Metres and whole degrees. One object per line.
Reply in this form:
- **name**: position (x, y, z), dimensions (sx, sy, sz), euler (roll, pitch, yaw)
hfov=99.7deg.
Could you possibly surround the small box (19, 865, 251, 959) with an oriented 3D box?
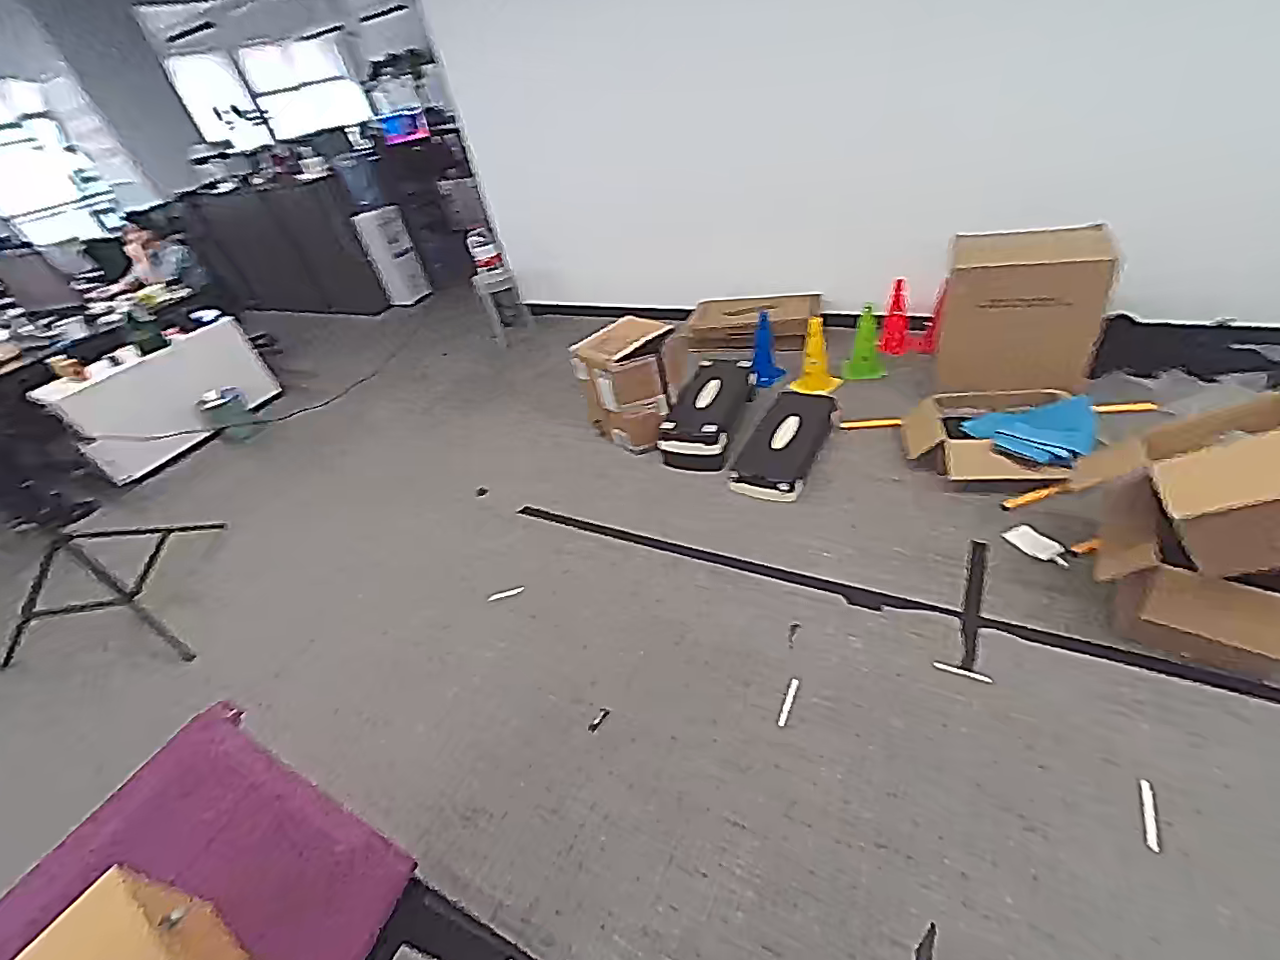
- **small box**: position (-0.571, 0.584, 0.598), dimensions (0.179, 0.176, 0.168), euler (14, 46, 31)
